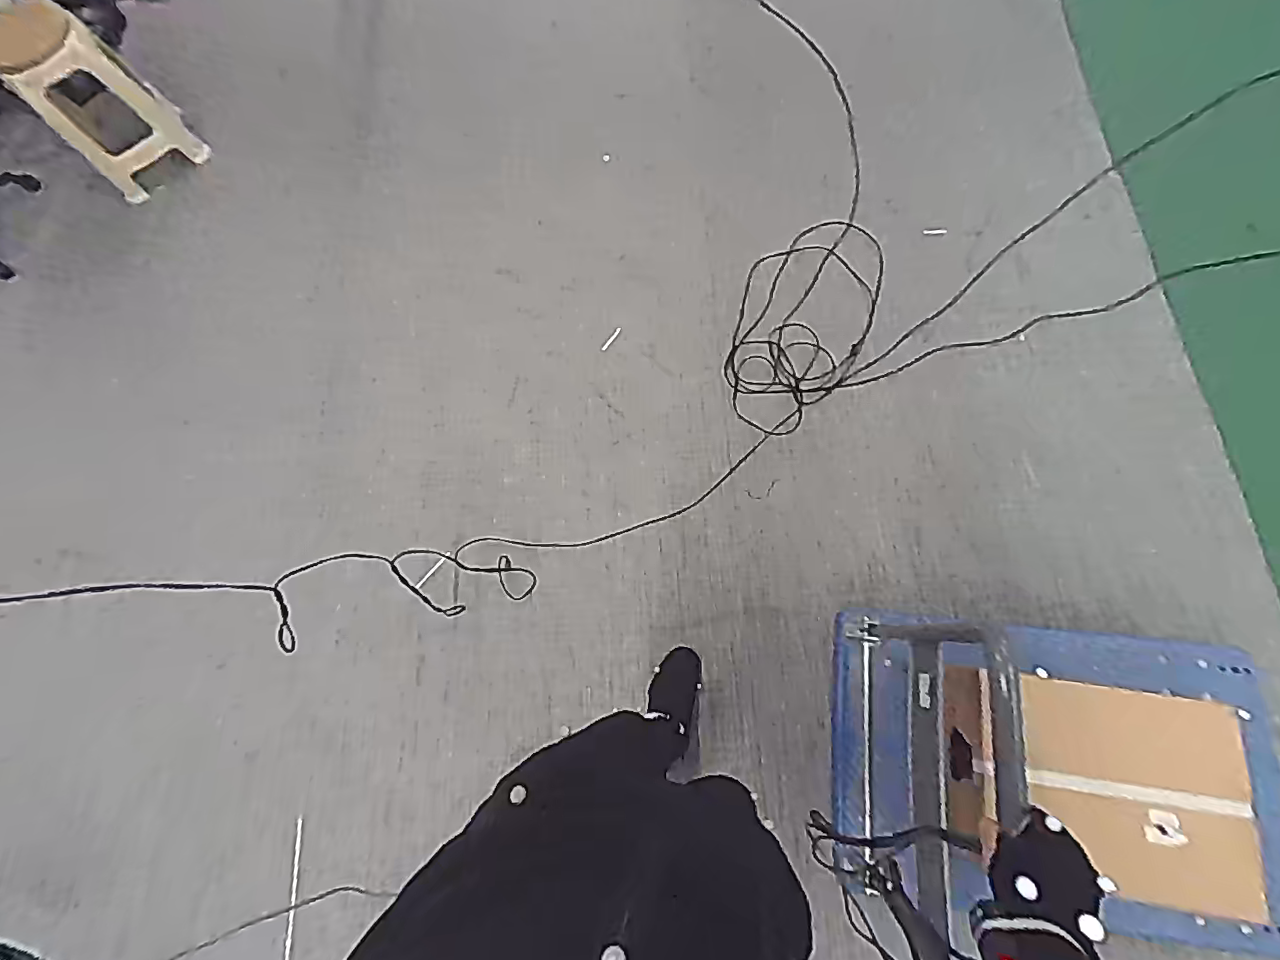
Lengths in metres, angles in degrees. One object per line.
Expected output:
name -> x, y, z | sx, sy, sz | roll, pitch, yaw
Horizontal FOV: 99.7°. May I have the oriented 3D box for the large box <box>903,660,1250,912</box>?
large box -> 0.757, 0.528, 1.017 | 0.408, 0.320, 0.320 | 7, 76, 6
